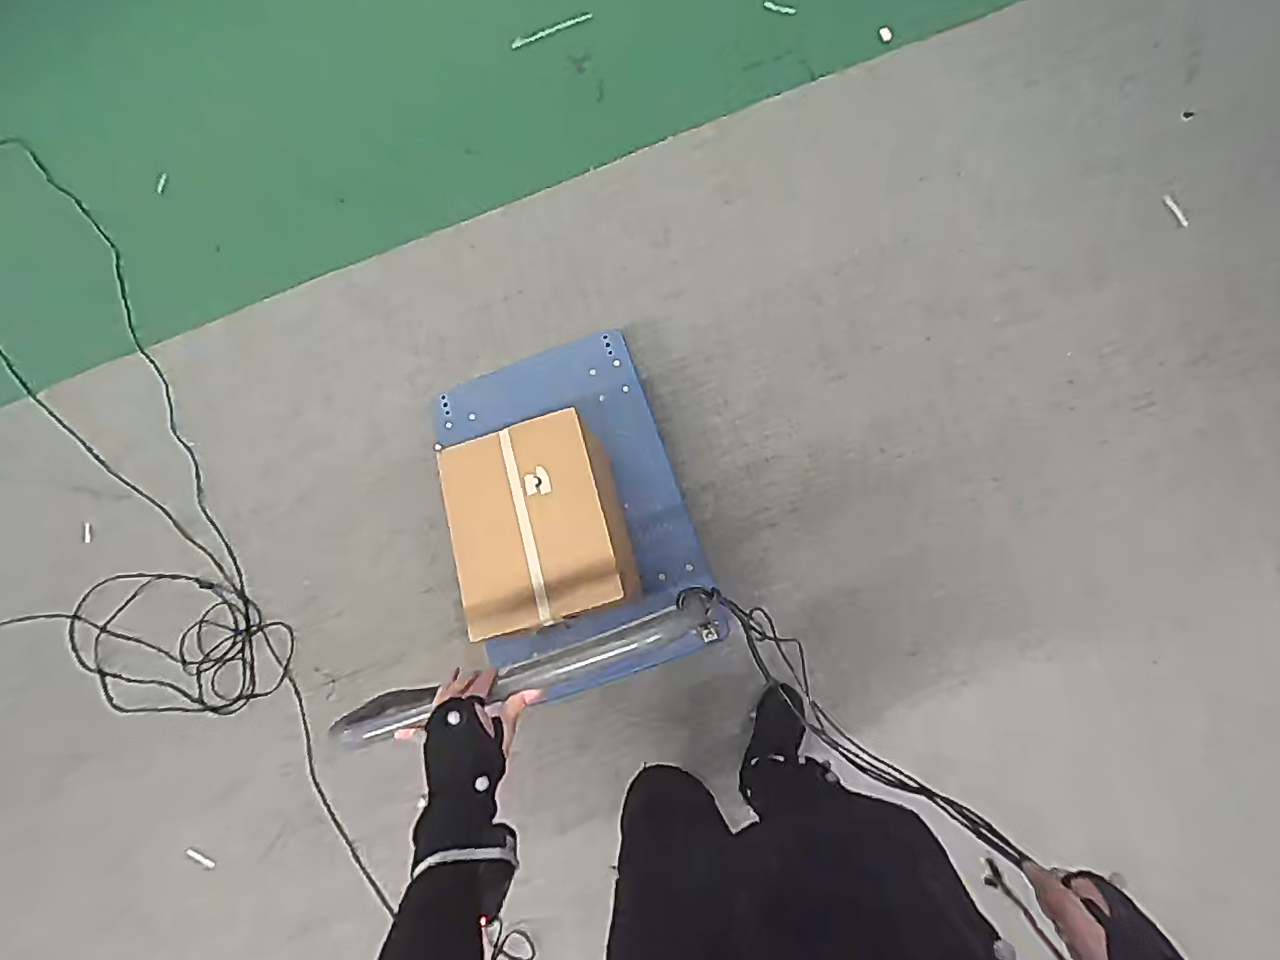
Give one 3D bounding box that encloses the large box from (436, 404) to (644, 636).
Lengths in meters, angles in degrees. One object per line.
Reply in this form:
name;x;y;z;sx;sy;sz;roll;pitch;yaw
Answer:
large box;-0.207;0.106;1.208;0.320;0.320;0.408;-17;74;3
